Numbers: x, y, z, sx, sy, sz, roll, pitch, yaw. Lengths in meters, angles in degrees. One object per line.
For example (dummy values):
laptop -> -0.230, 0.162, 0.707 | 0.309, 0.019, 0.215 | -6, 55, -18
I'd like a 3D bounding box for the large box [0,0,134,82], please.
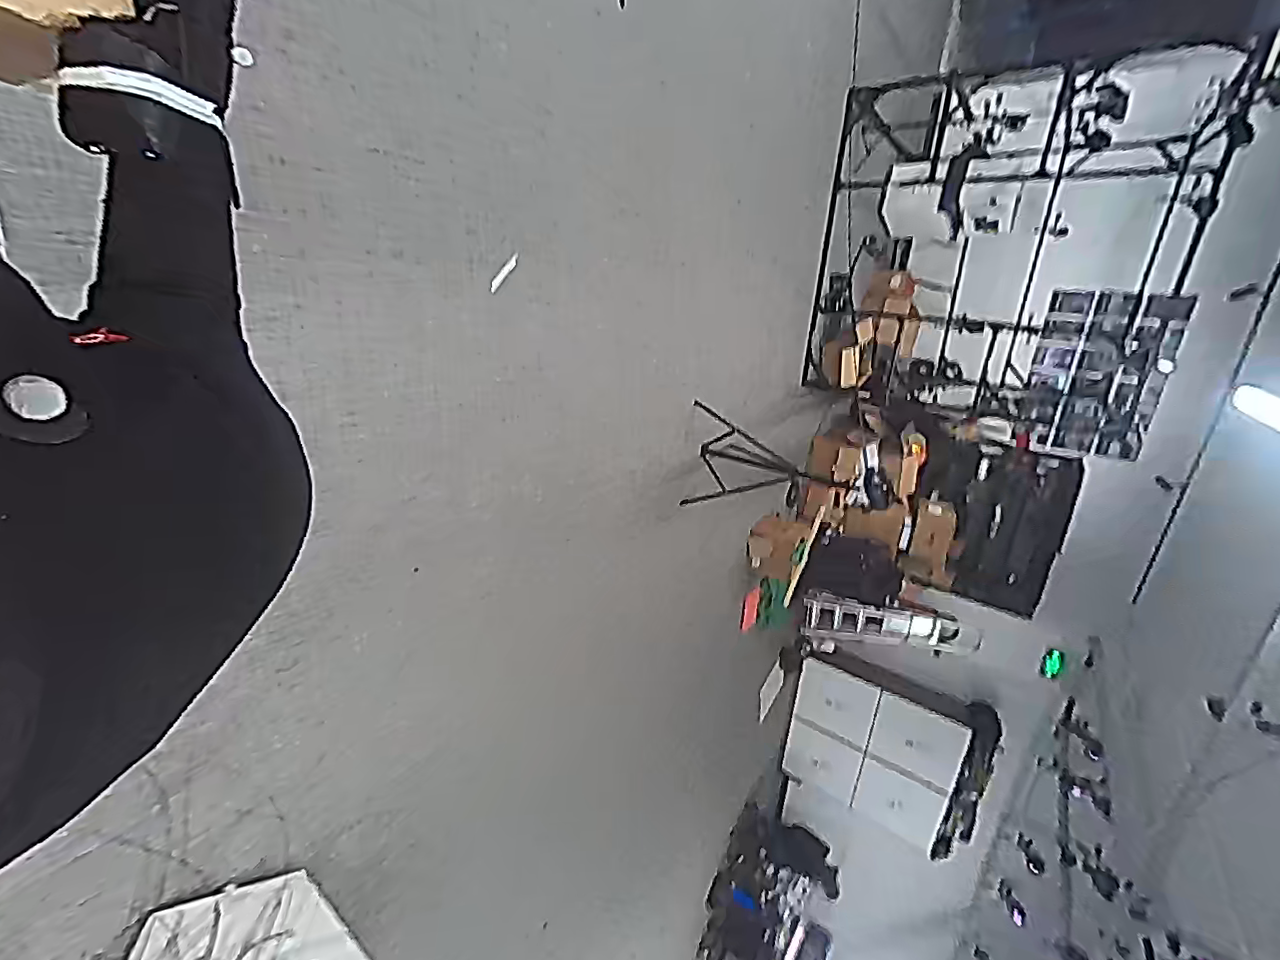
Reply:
large box -> -0.543, -0.445, 0.233 | 0.408, 0.320, 0.320 | -12, 119, -57
